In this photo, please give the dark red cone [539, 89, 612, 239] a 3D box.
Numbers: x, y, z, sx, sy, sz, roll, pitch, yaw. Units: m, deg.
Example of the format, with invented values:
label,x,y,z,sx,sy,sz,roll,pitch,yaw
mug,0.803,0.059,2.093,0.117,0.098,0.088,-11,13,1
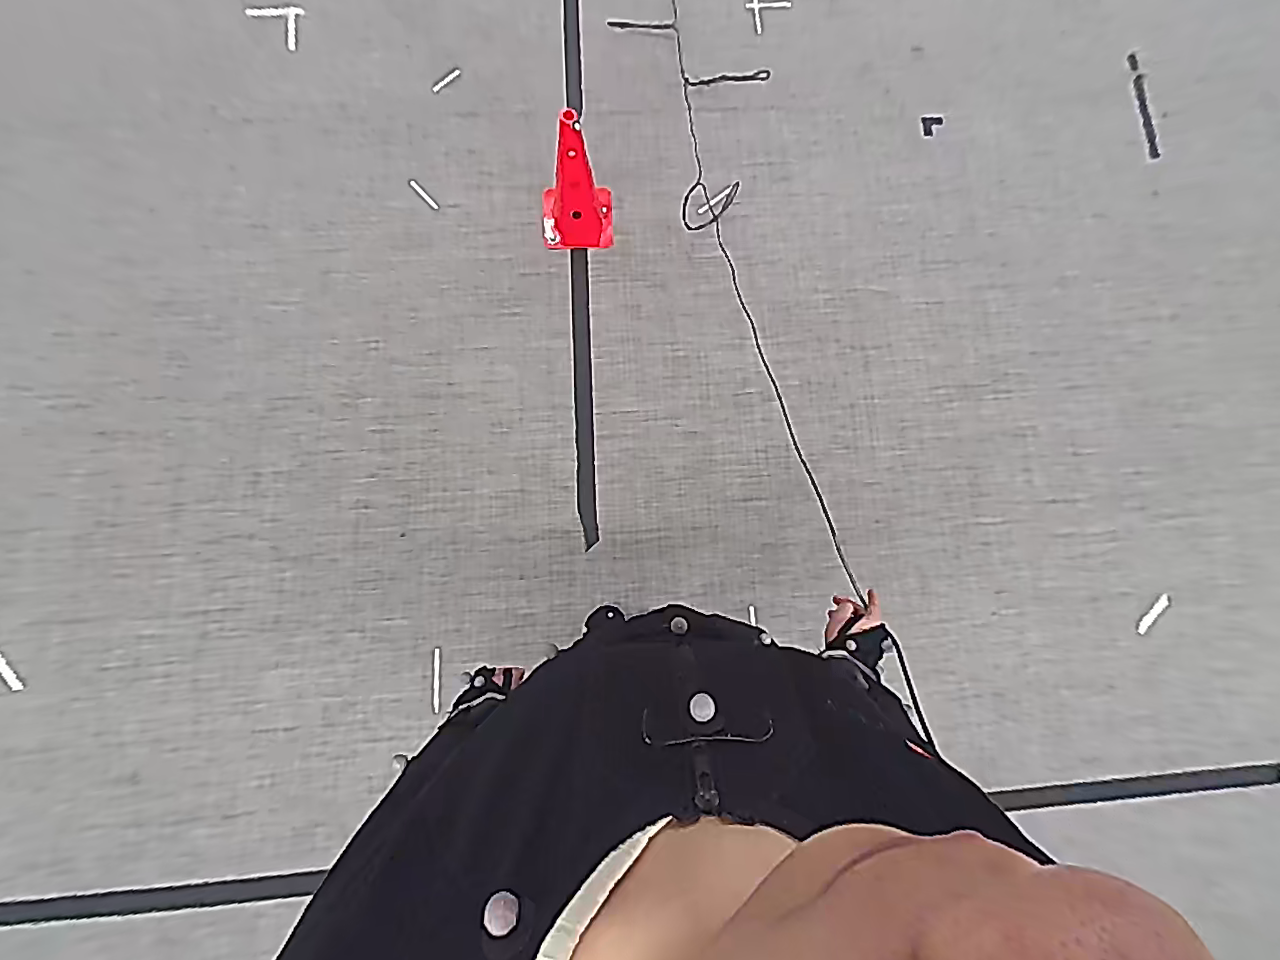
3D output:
label,x,y,z,sx,sy,sz,roll,pitch,yaw
dark red cone,-0.173,-0.810,1.389,0.201,0.394,0.202,-3,79,-5
